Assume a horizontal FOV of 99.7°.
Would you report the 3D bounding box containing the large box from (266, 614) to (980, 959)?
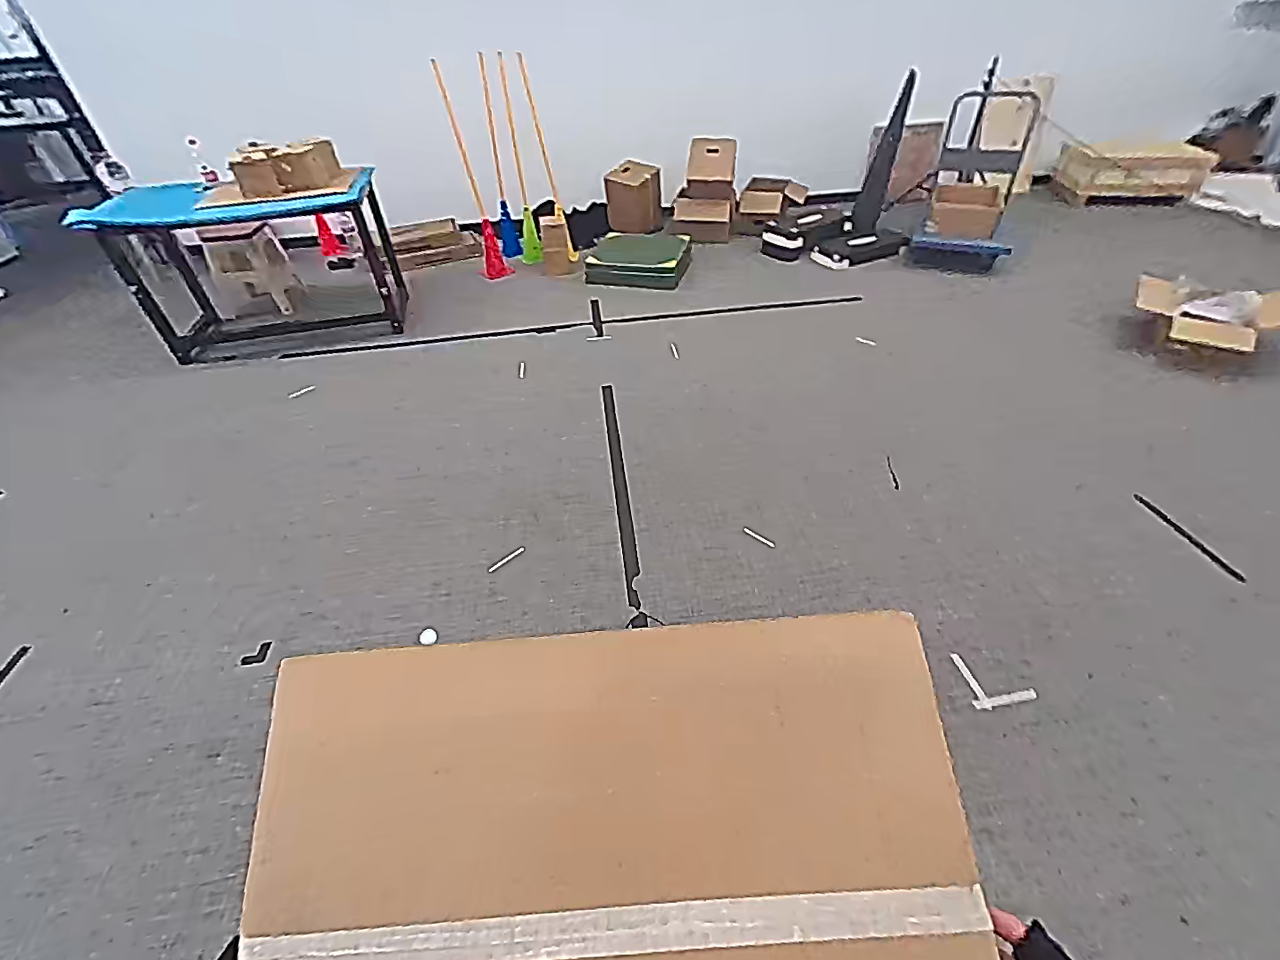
[{"bbox_3d":[-0.010,0.301,0.444,0.408,0.320,0.320,-5,71,1],"label":"large box"}]
